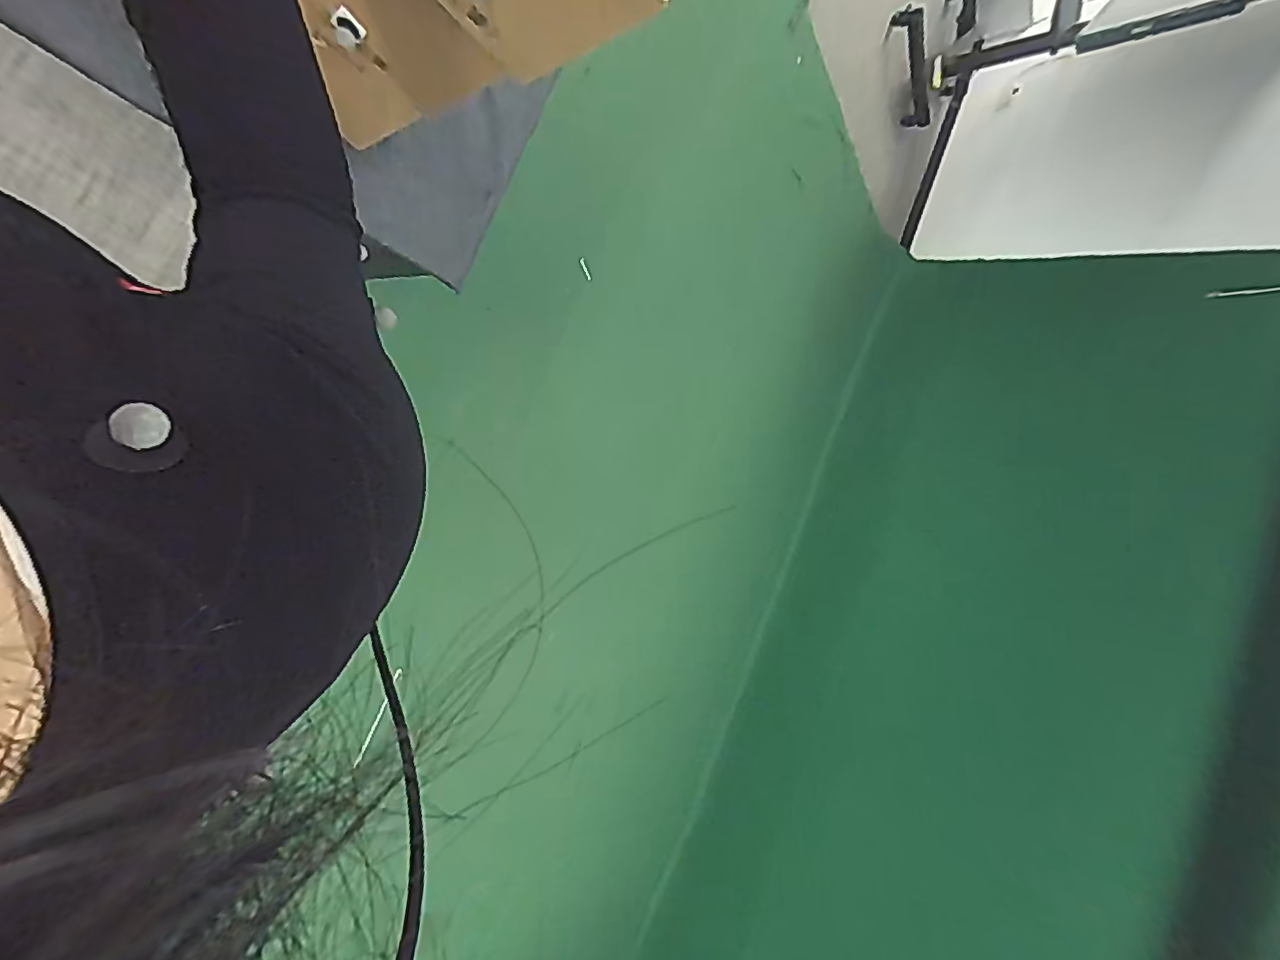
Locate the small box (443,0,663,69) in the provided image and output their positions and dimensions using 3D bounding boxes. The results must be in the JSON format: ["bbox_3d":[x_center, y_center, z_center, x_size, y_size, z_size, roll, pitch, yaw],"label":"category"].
[{"bbox_3d":[-0.069,-0.430,0.354,0.168,0.176,0.179,18,86,-48],"label":"small box"}]

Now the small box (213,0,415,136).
[{"bbox_3d":[-0.309,-0.505,0.565,0.168,0.176,0.179,29,78,-49],"label":"small box"}]

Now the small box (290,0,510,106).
[{"bbox_3d":[-0.191,-0.471,0.460,0.168,0.176,0.179,23,84,-49],"label":"small box"}]
